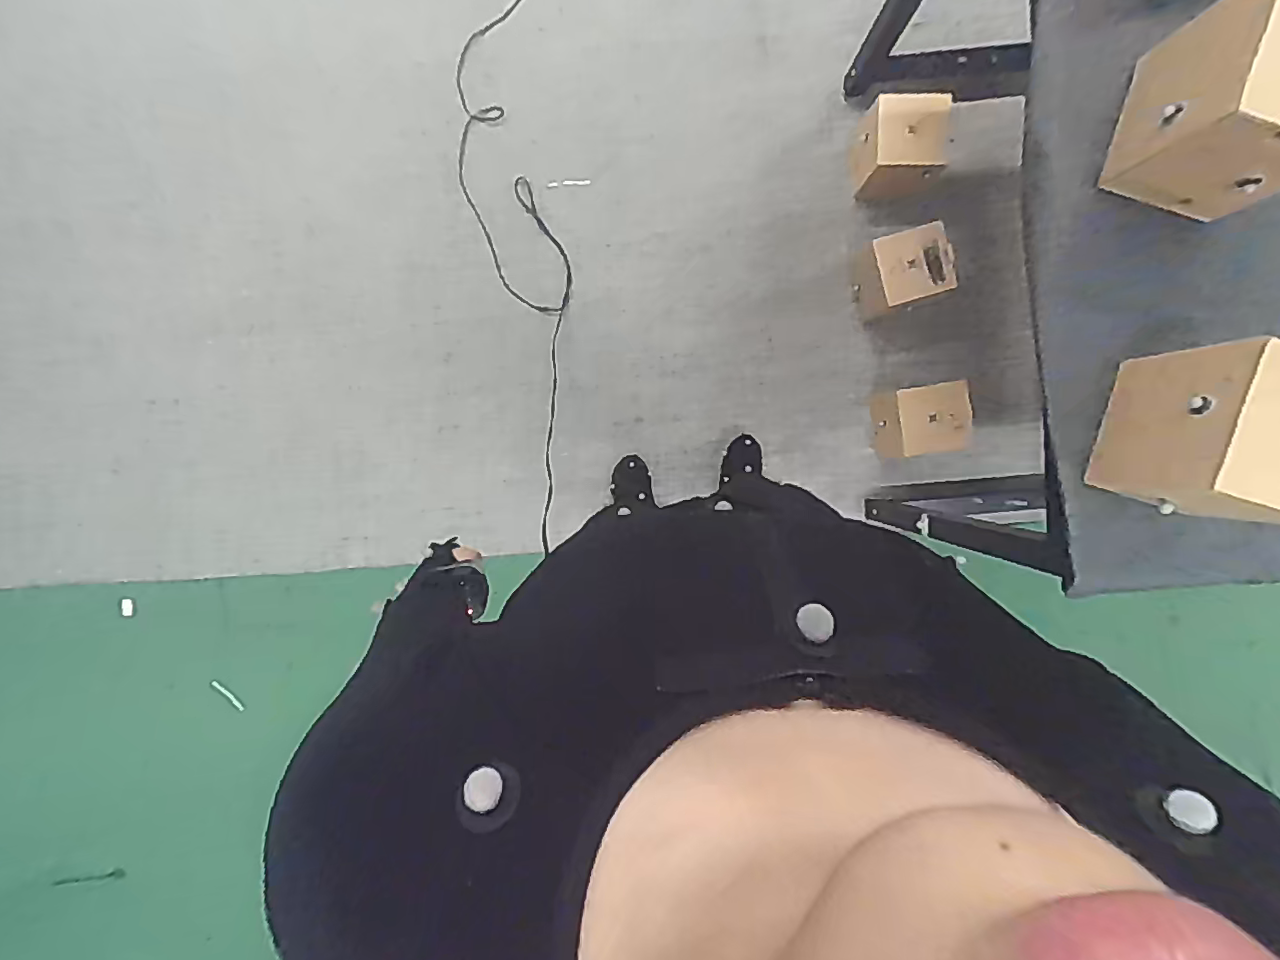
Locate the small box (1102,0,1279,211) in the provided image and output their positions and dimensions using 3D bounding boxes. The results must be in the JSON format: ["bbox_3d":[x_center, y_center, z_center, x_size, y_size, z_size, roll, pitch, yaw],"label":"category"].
[{"bbox_3d":[0.713,-0.457,0.646,0.168,0.176,0.179,15,92,-4],"label":"small box"}]

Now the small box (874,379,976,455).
[{"bbox_3d":[0.720,-0.156,1.388,0.179,0.176,0.168,-9,93,1],"label":"small box"}]

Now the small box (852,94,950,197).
[{"bbox_3d":[0.647,-0.831,1.358,0.179,0.176,0.168,0,93,0],"label":"small box"}]

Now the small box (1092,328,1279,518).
[{"bbox_3d":[0.713,-0.061,0.660,0.168,0.176,0.179,16,92,-3],"label":"small box"}]
